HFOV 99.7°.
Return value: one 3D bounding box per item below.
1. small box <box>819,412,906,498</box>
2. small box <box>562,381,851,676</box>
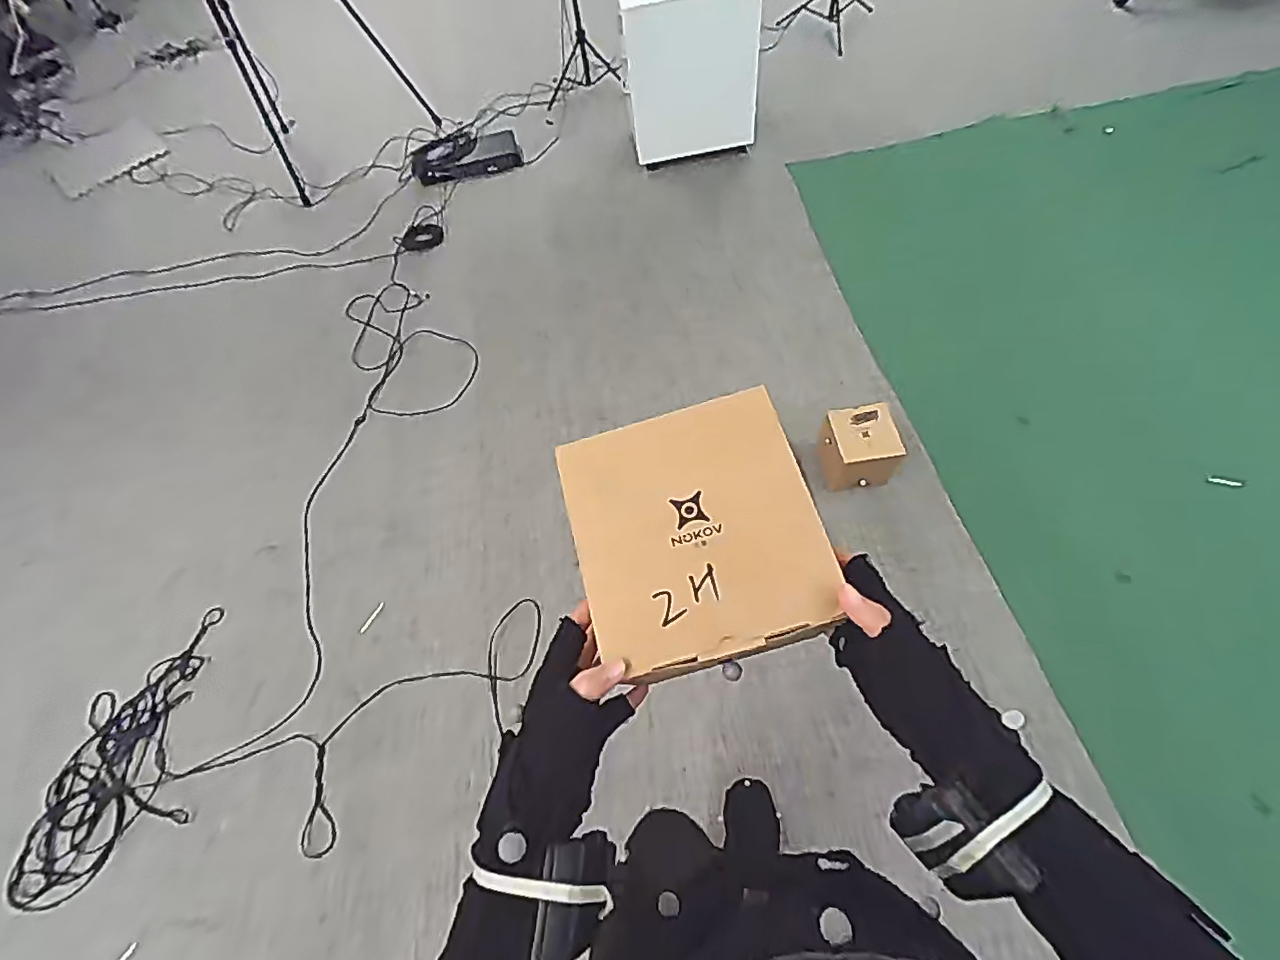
[{"bbox_3d":[0.623,-0.068,1.539,0.168,0.176,0.179,-8,60,3],"label":"small box"},{"bbox_3d":[0.047,0.052,0.449,0.168,0.176,0.179,-16,66,2],"label":"small box"}]
